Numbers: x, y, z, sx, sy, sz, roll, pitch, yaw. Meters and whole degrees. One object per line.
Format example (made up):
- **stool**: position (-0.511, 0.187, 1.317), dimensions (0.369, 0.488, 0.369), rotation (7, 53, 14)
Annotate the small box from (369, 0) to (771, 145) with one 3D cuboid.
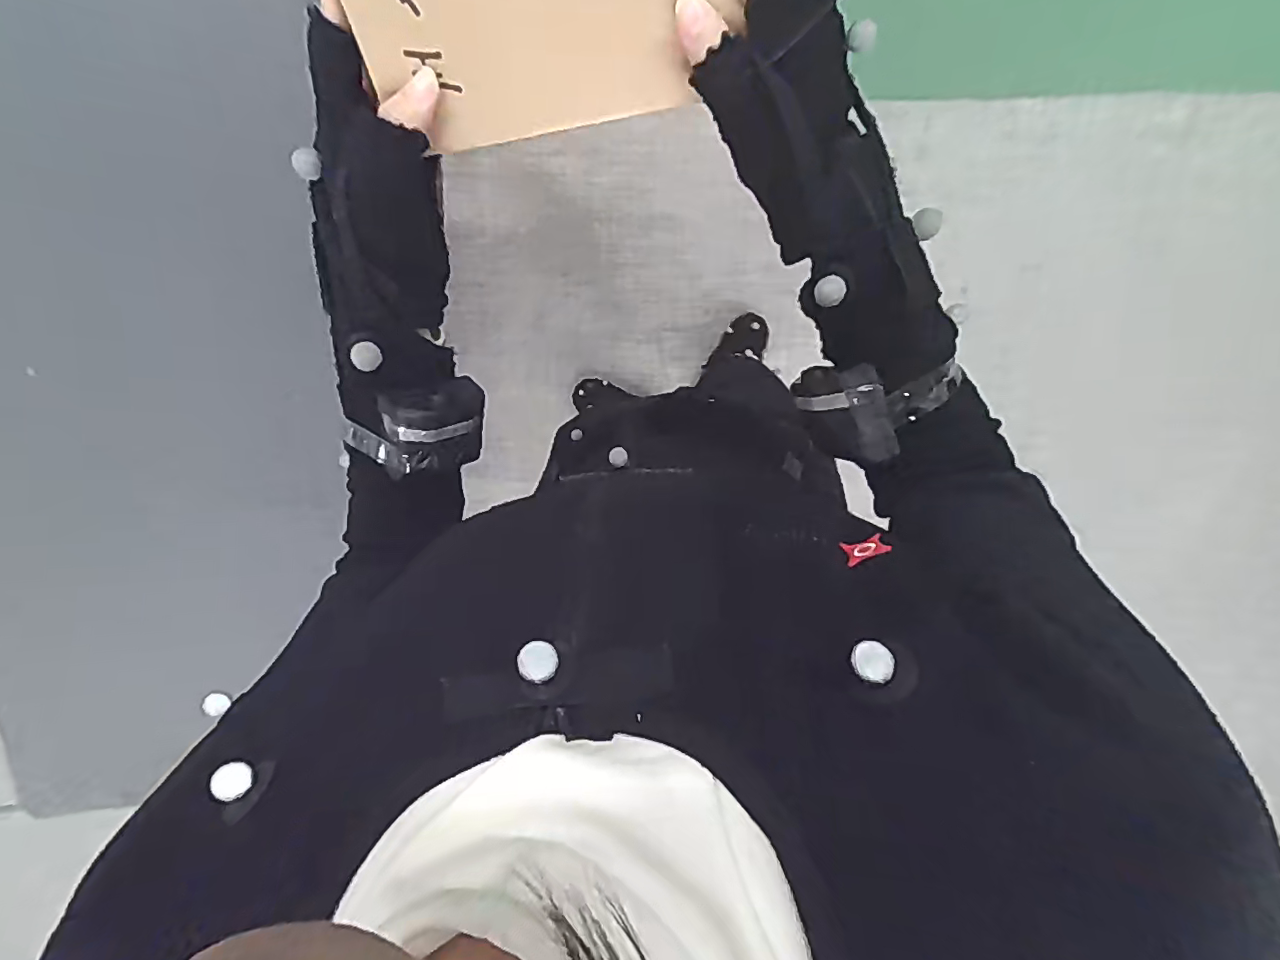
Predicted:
- **small box**: position (-0.039, -0.289, 0.270), dimensions (0.179, 0.176, 0.168), rotation (-8, 131, 3)
